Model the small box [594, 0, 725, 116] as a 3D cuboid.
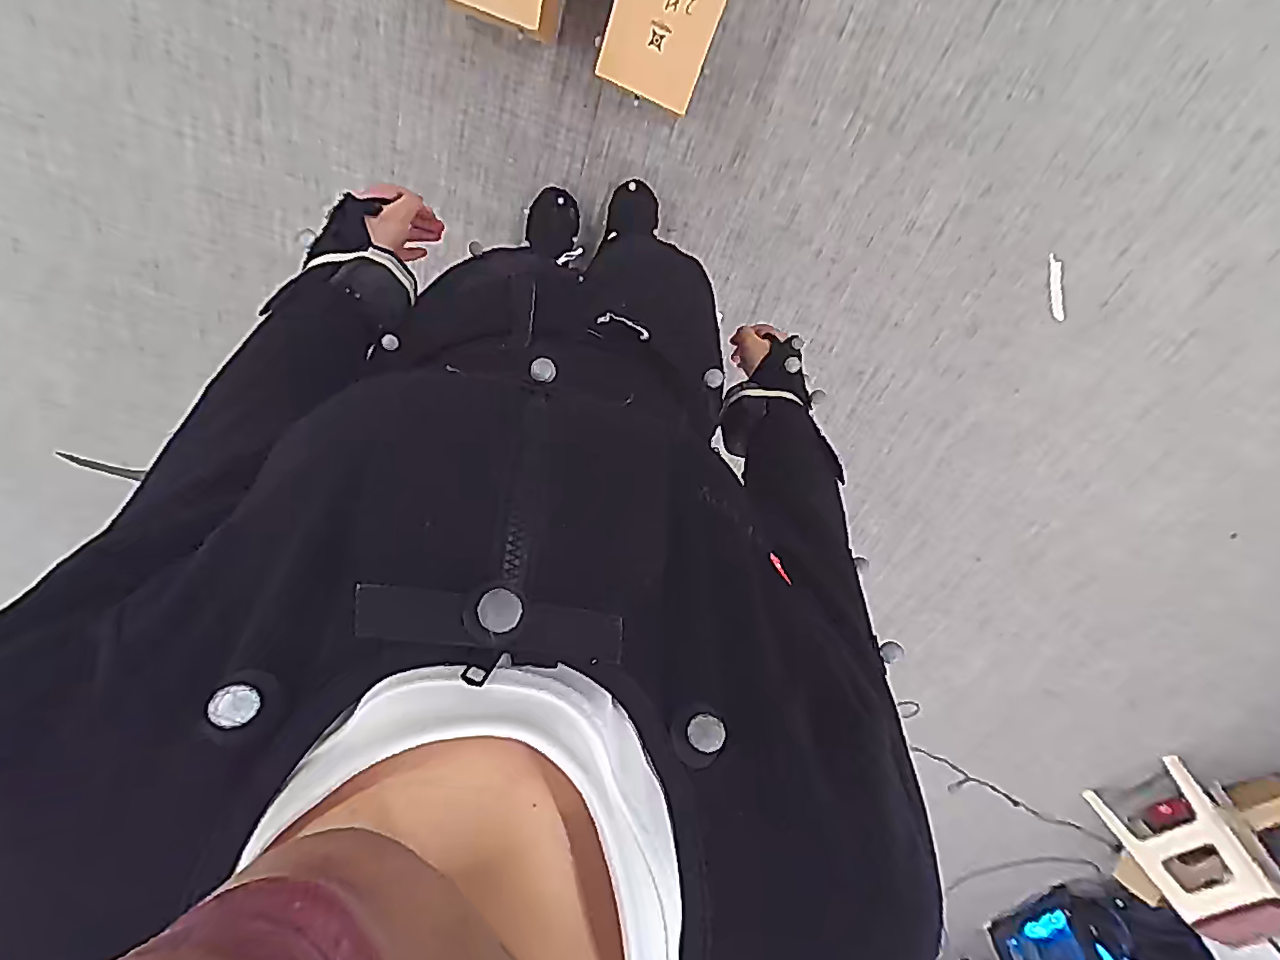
[{"bbox_3d":[0.032,-0.764,0.941,0.168,0.176,0.179,19,121,-11],"label":"small box"}]
